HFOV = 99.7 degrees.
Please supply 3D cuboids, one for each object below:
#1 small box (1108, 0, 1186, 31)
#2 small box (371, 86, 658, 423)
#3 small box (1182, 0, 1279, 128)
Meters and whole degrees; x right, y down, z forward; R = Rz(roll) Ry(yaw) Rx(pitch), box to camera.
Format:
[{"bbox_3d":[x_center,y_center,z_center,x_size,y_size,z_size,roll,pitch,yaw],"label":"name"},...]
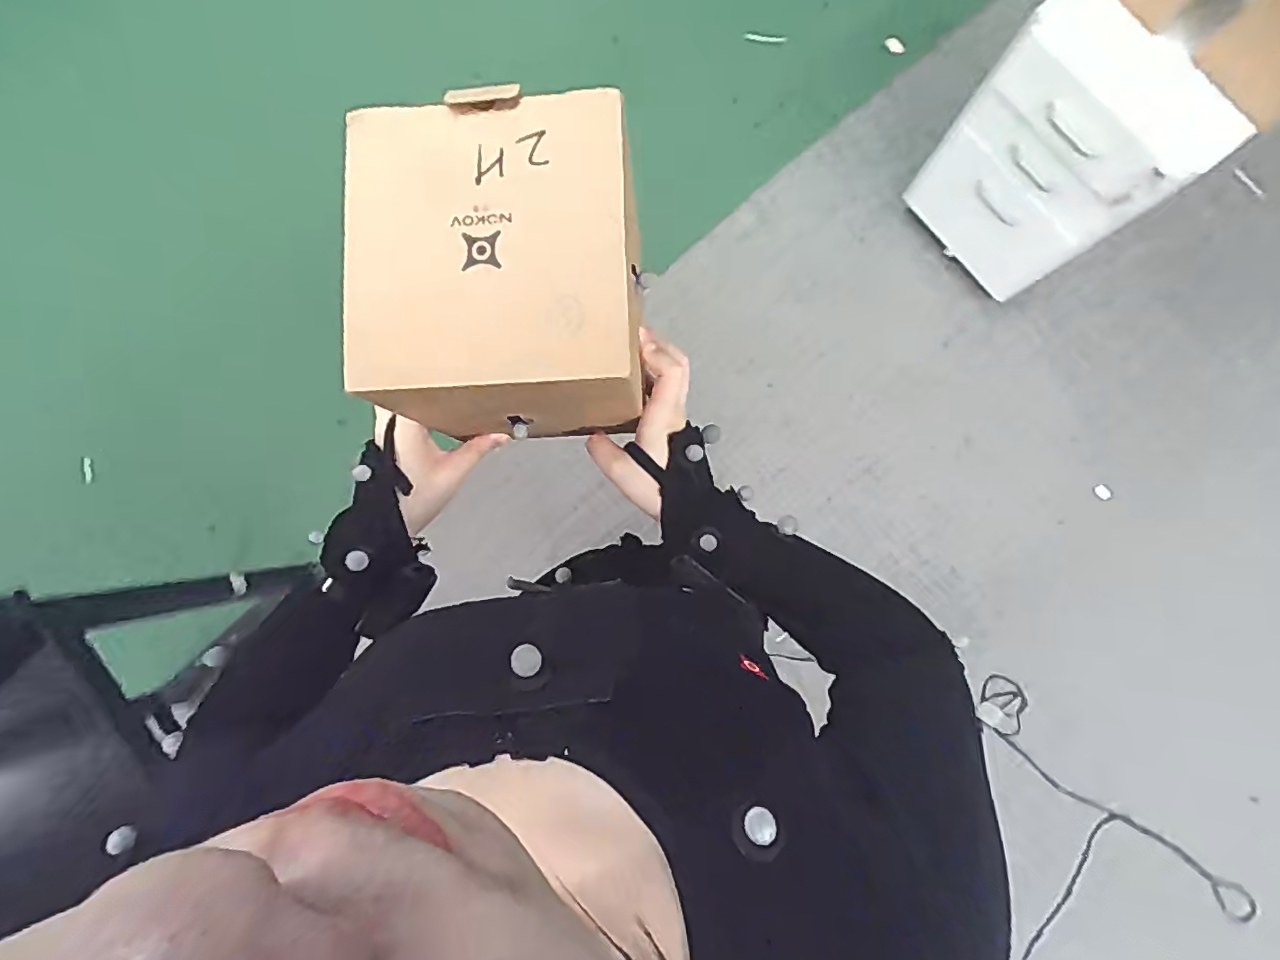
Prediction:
[{"bbox_3d":[0.875,-0.894,0.869,0.168,0.176,0.179,-38,86,0],"label":"small box"},{"bbox_3d":[-0.071,-0.139,0.396,0.168,0.176,0.179,-1,85,3],"label":"small box"},{"bbox_3d":[1.037,-0.712,0.848,0.168,0.176,0.179,-37,85,0],"label":"small box"}]
